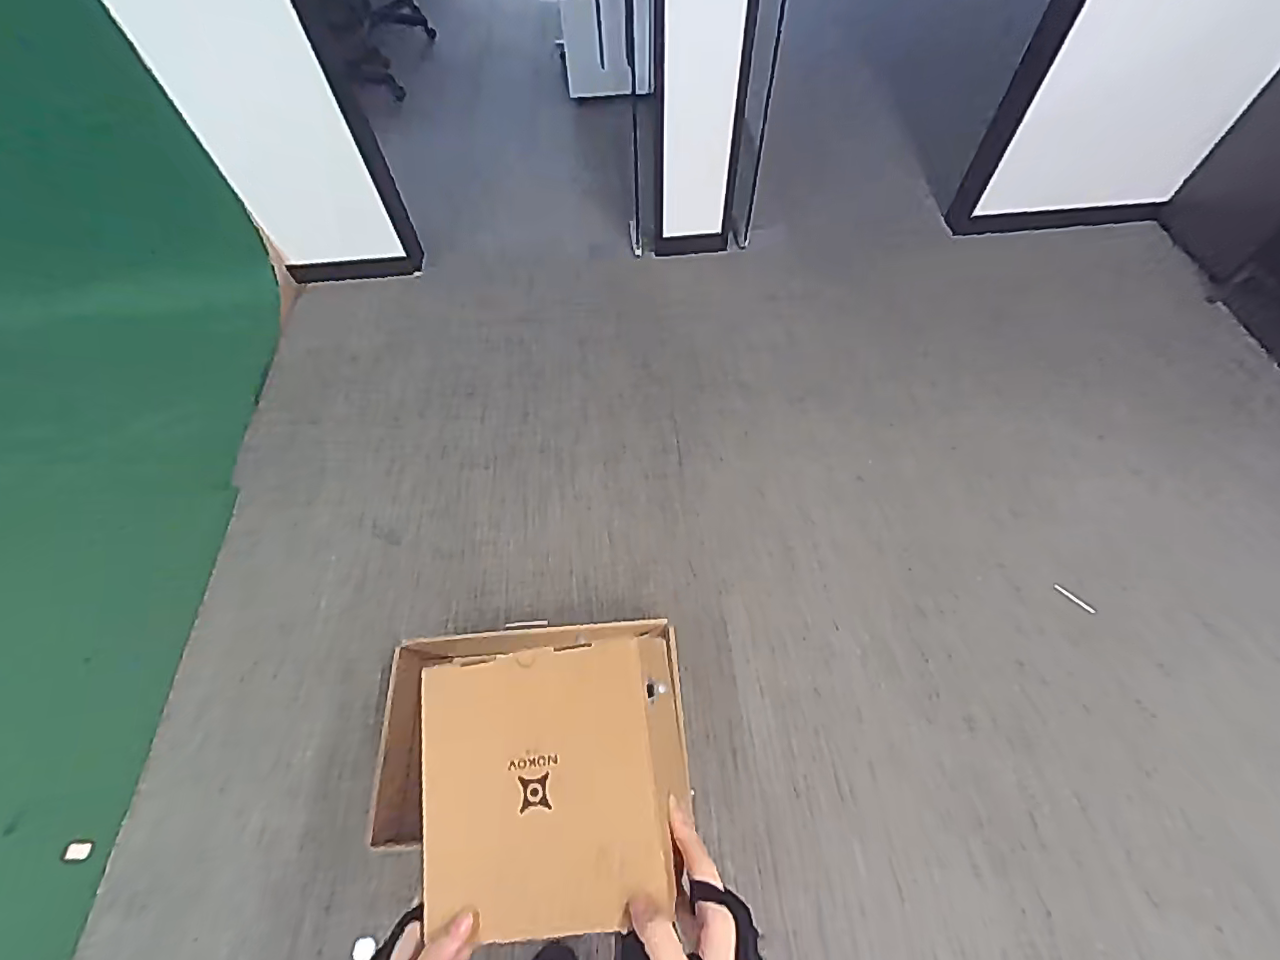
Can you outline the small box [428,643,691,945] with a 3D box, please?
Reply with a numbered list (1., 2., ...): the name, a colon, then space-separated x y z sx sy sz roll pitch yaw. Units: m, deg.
1. small box: -0.056 0.239 0.454 0.168 0.176 0.179 -12 70 6
